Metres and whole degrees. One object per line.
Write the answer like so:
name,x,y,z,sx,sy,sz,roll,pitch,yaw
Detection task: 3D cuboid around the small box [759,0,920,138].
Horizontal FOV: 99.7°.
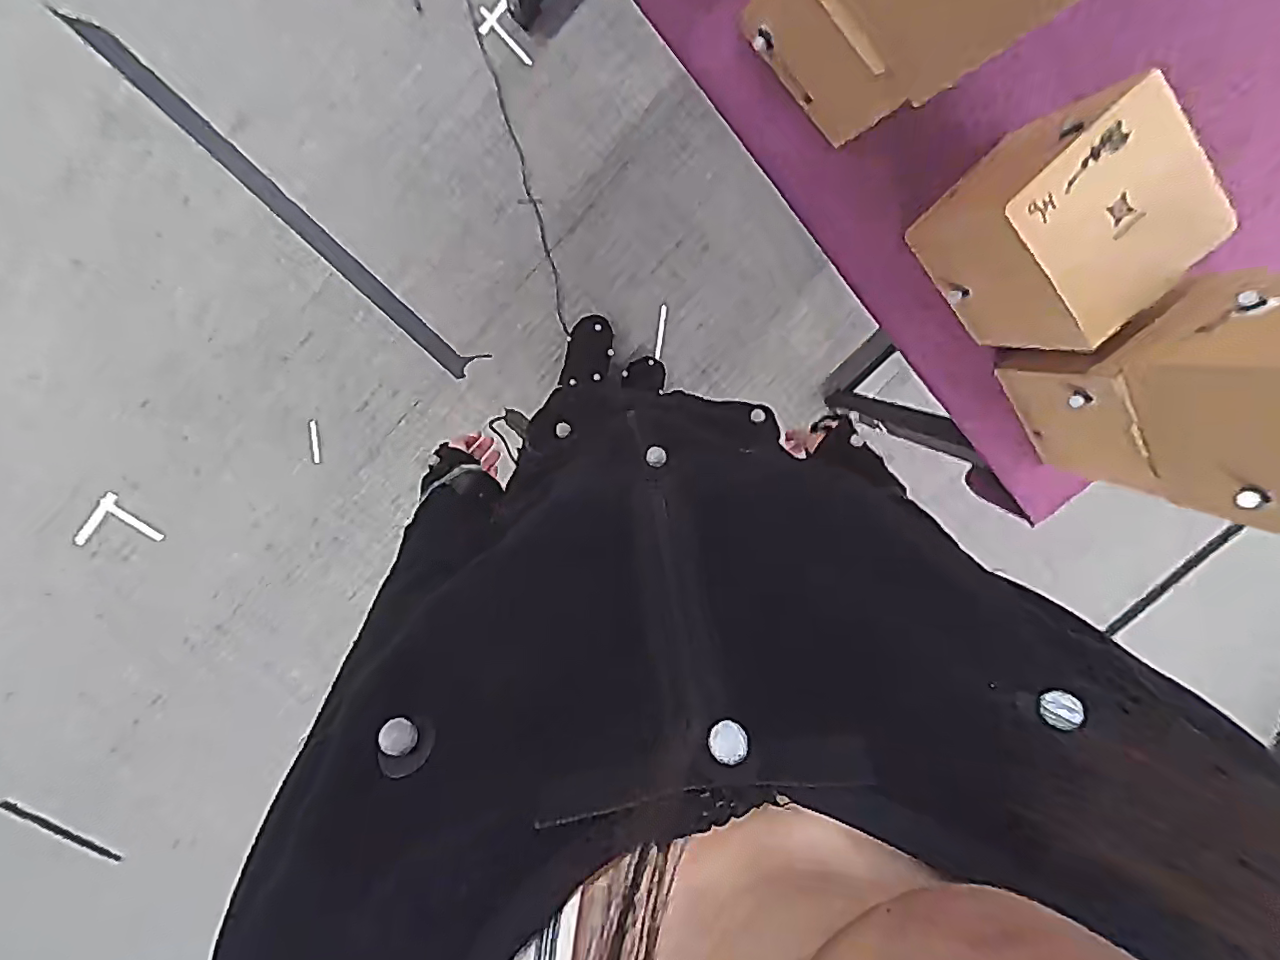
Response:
small box,0.230,-0.460,0.492,0.168,0.176,0.179,41,98,-16

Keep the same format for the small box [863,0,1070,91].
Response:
small box,0.239,-0.401,0.337,0.168,0.176,0.179,-44,106,8

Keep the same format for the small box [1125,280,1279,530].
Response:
small box,0.593,-0.067,0.473,0.168,0.176,0.179,-33,105,2
